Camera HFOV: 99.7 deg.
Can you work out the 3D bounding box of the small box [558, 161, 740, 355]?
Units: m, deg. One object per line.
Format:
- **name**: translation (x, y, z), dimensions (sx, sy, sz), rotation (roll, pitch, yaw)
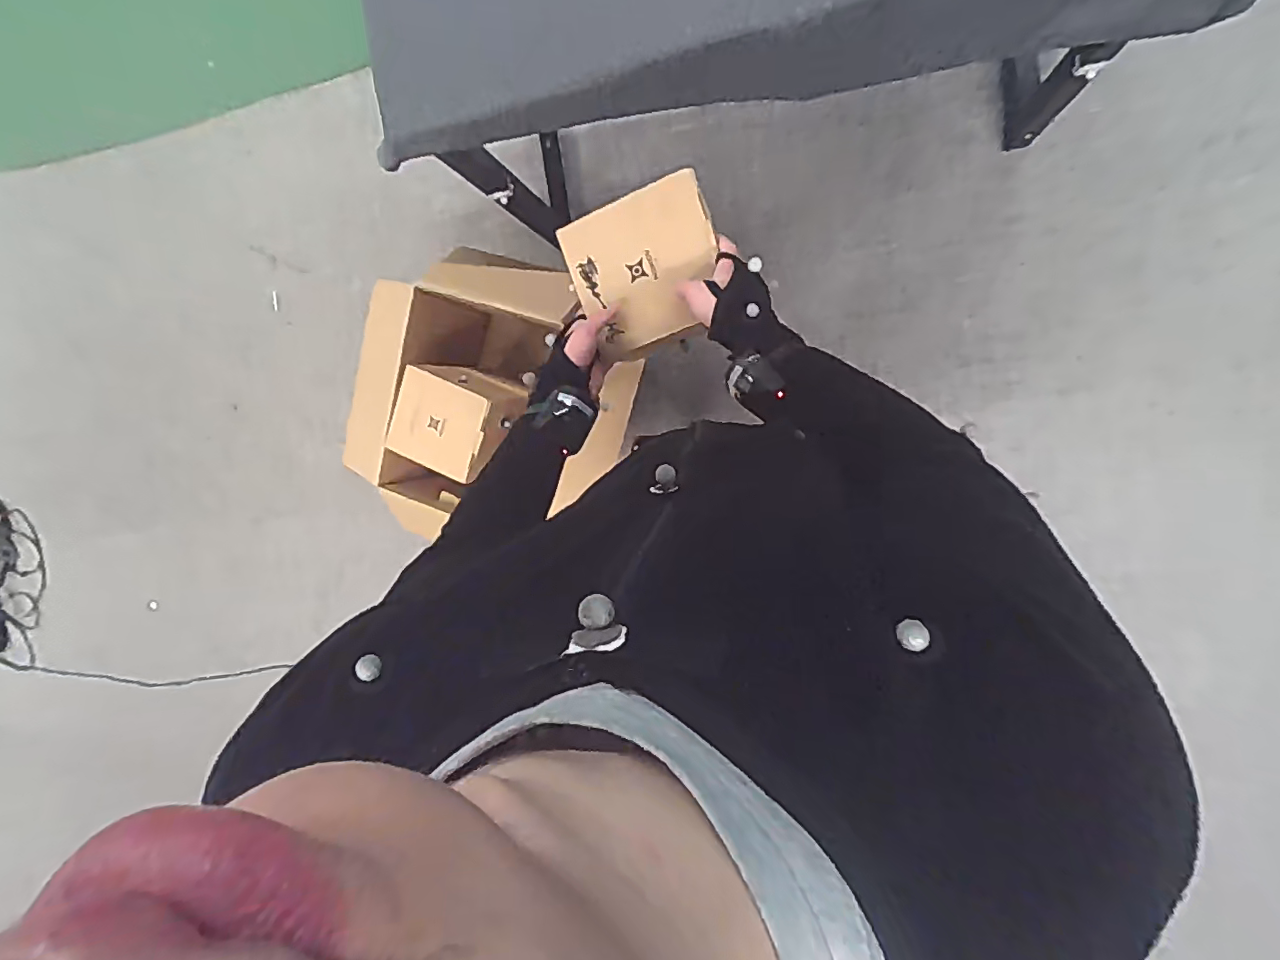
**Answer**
- **small box**: translation (0.023, -0.269, 0.700), dimensions (0.179, 0.176, 0.168), rotation (-18, 97, 15)
